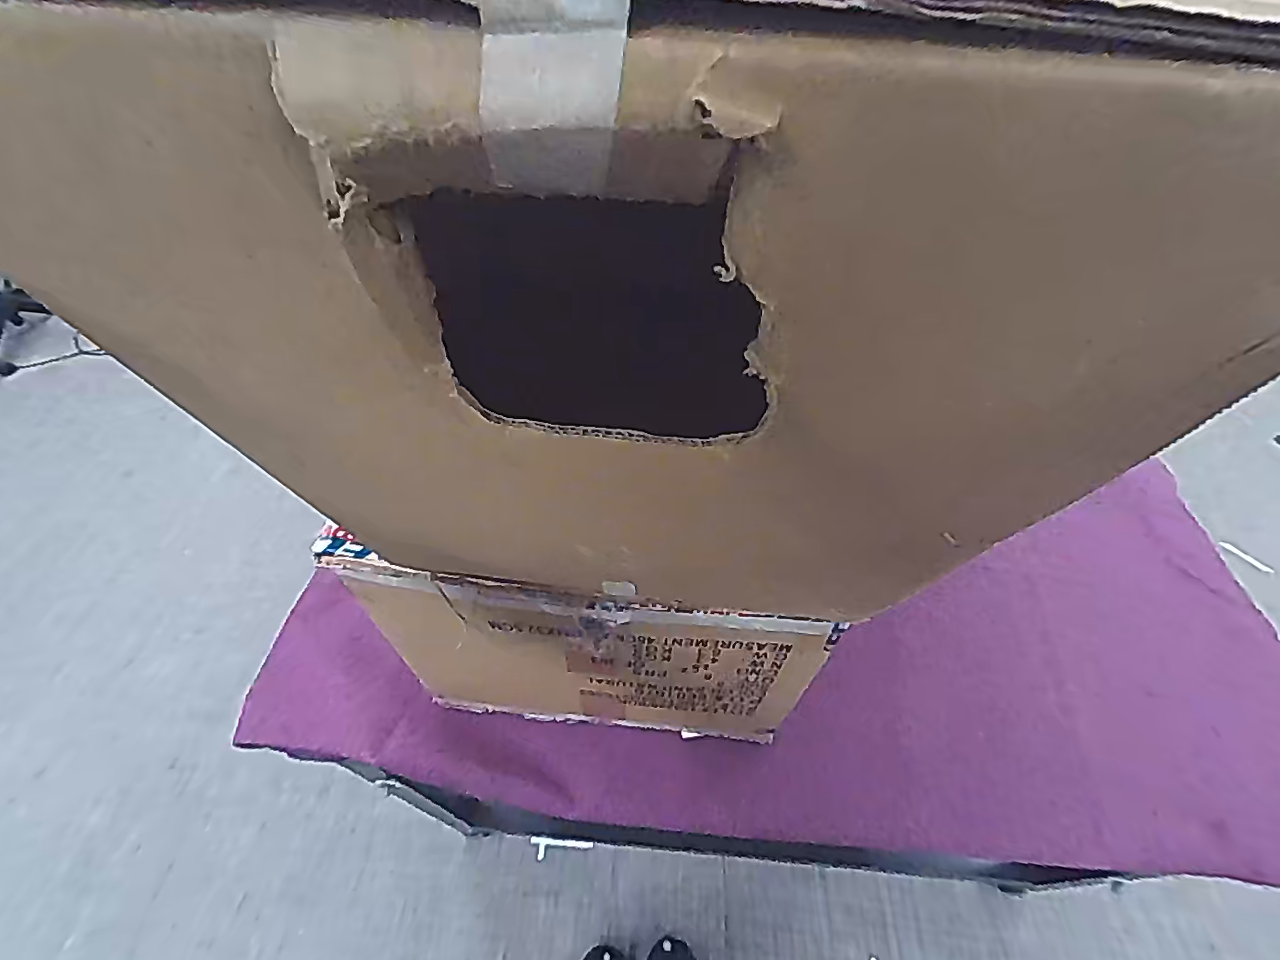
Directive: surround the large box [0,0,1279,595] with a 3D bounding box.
[{"bbox_3d":[0.016,-0.179,0.312,0.320,0.320,0.408,5,64,3],"label":"large box"}]
